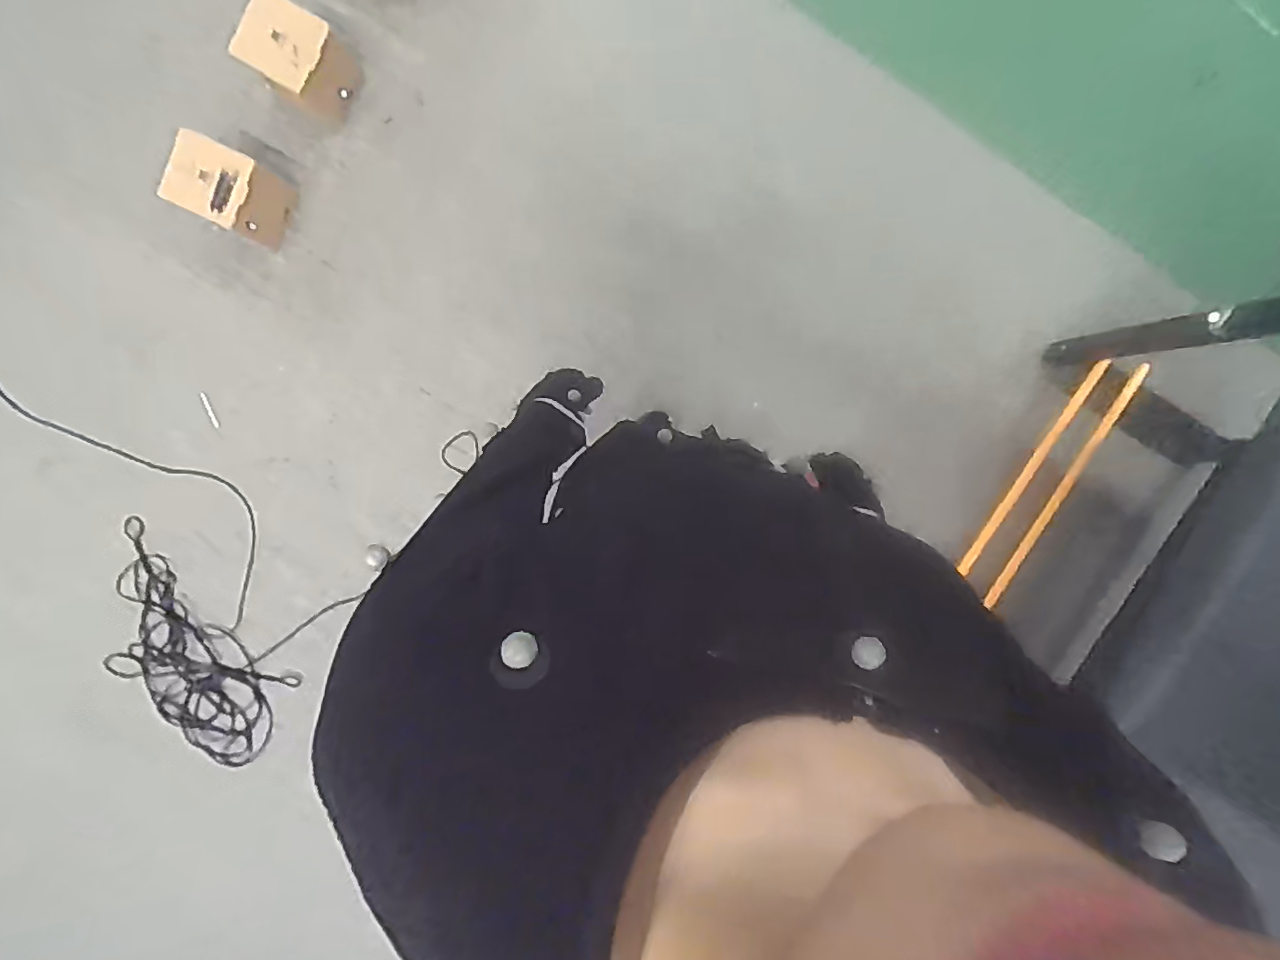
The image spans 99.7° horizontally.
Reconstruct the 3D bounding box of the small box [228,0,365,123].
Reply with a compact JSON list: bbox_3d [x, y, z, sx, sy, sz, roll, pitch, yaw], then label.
[{"bbox_3d":[-0.788,-0.983,1.258,0.179,0.176,0.168,30,95,-6],"label":"small box"}]
